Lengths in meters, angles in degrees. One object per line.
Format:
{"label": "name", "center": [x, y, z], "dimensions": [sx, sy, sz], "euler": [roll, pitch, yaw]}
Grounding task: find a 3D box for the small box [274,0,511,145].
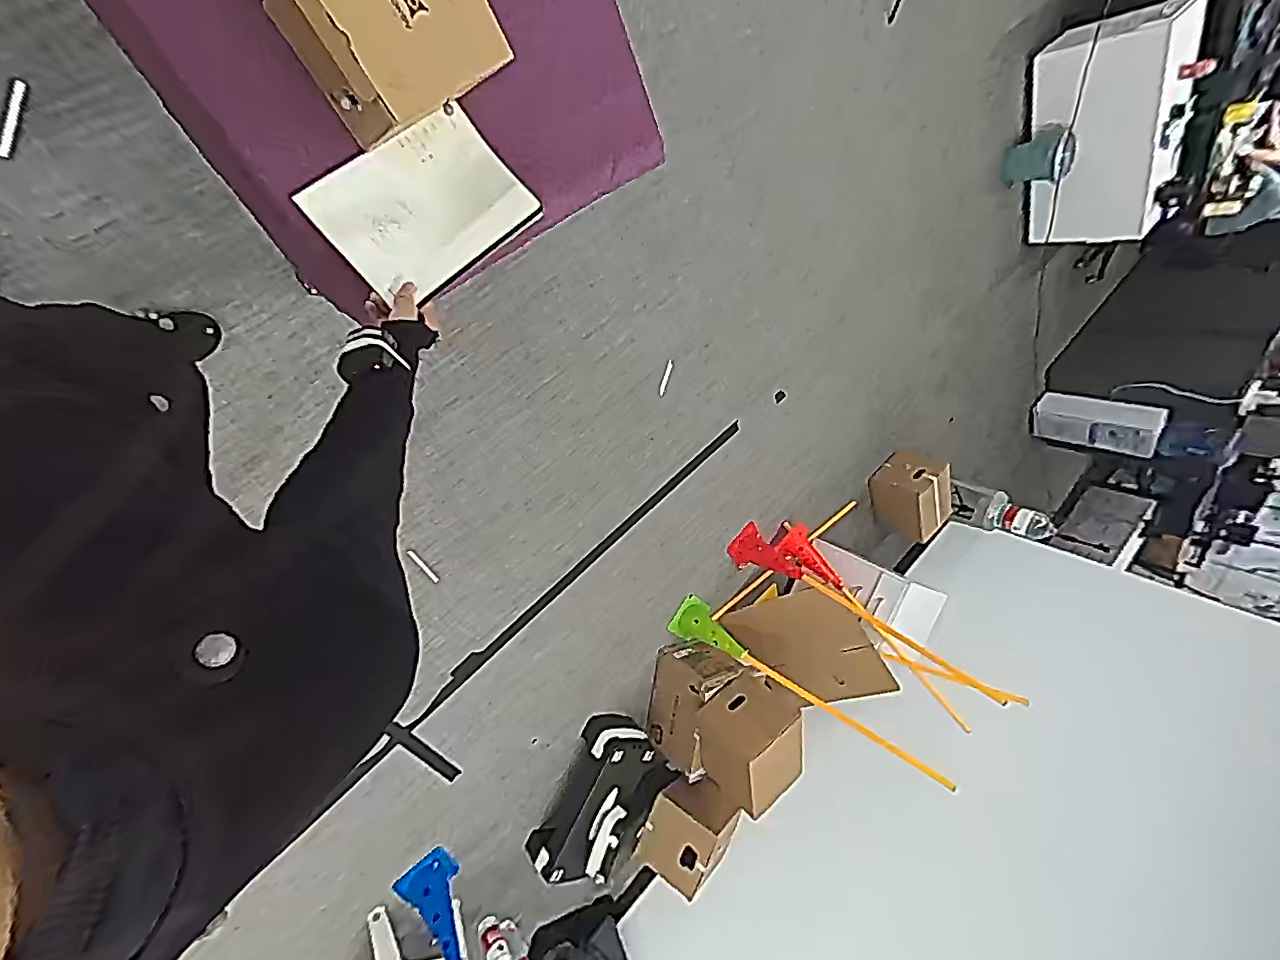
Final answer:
{"label": "small box", "center": [-0.289, -0.520, 0.625], "dimensions": [0.179, 0.176, 0.168], "euler": [-45, 129, -18]}
